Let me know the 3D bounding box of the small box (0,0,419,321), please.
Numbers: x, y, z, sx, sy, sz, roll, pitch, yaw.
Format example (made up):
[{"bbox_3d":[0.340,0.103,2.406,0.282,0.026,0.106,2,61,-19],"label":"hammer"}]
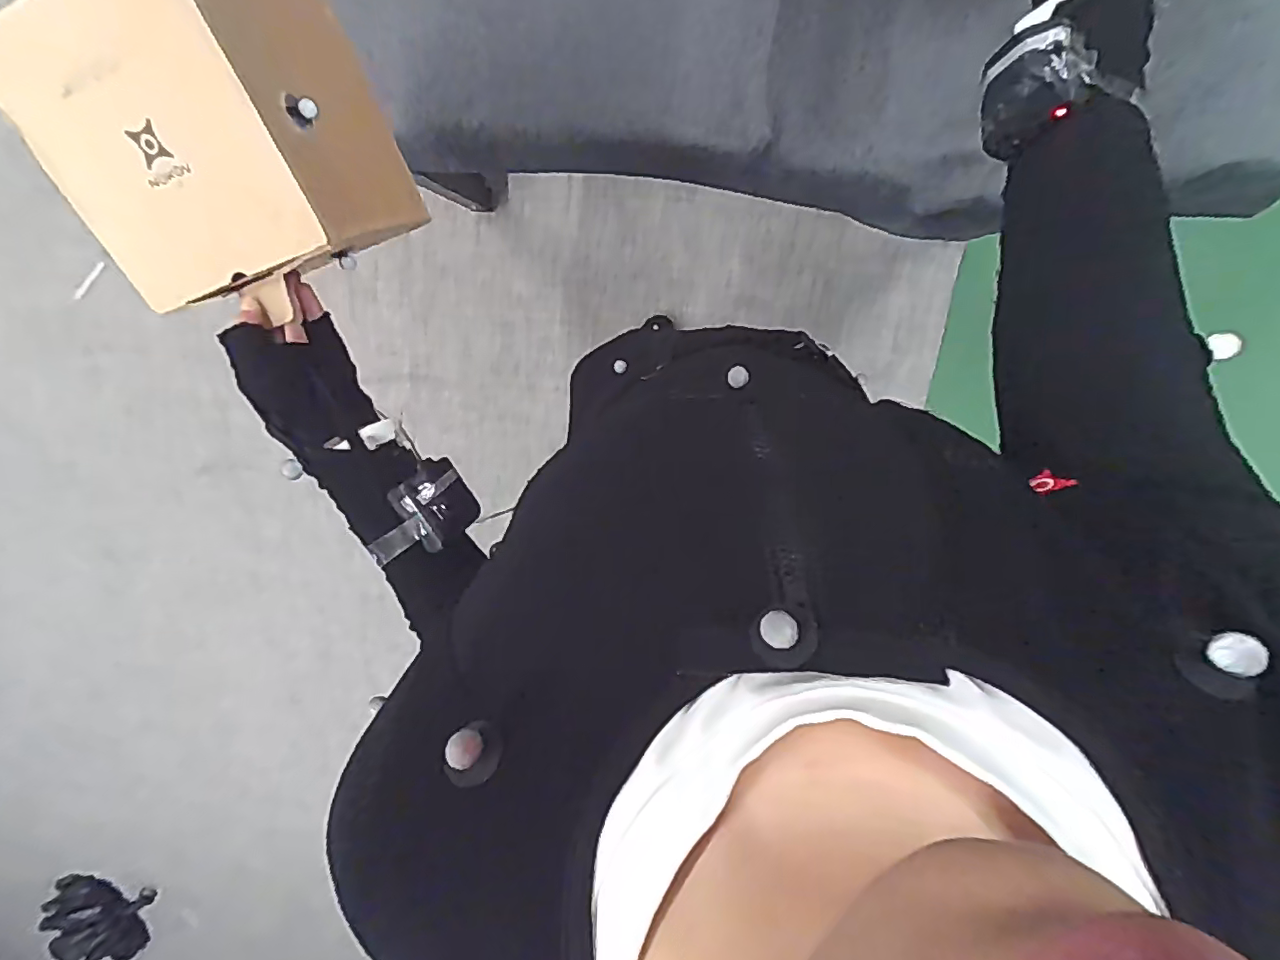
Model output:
[{"bbox_3d":[-0.306,-0.249,0.415,0.168,0.176,0.179,-15,117,13],"label":"small box"}]
